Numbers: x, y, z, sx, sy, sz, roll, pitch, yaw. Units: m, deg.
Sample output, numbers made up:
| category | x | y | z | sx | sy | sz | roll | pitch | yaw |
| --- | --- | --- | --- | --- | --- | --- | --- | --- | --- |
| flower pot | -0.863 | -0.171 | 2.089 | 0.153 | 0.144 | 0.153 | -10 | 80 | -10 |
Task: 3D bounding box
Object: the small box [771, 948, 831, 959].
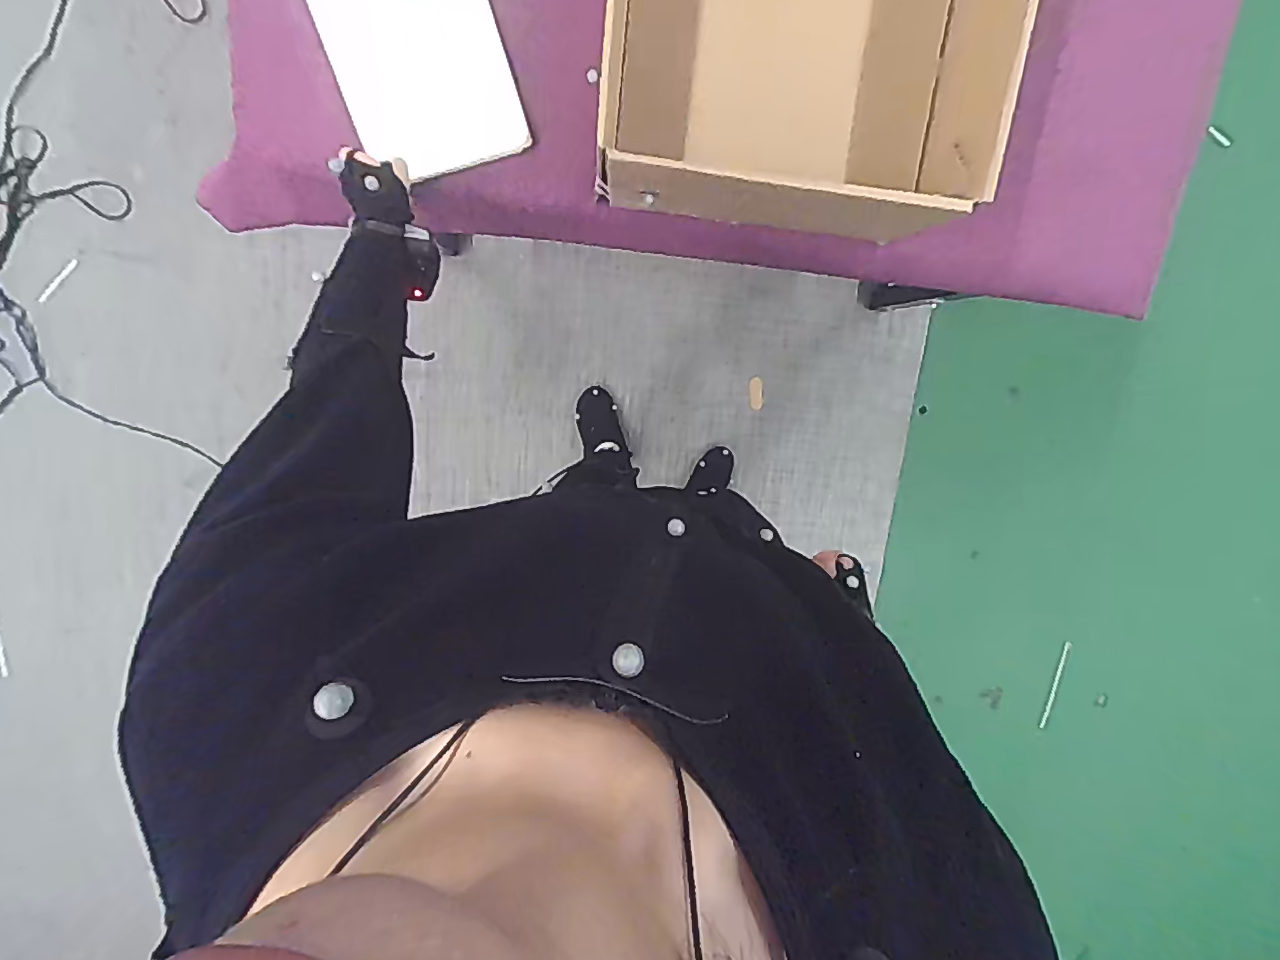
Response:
| category | x | y | z | sx | sy | sz | roll | pitch | yaw |
| --- | --- | --- | --- | --- | --- | --- | --- | --- | --- |
| small box | 0.462 | 1.429 | 1.477 | 0.168 | 0.176 | 0.179 | -5 | 103 | -3 |
